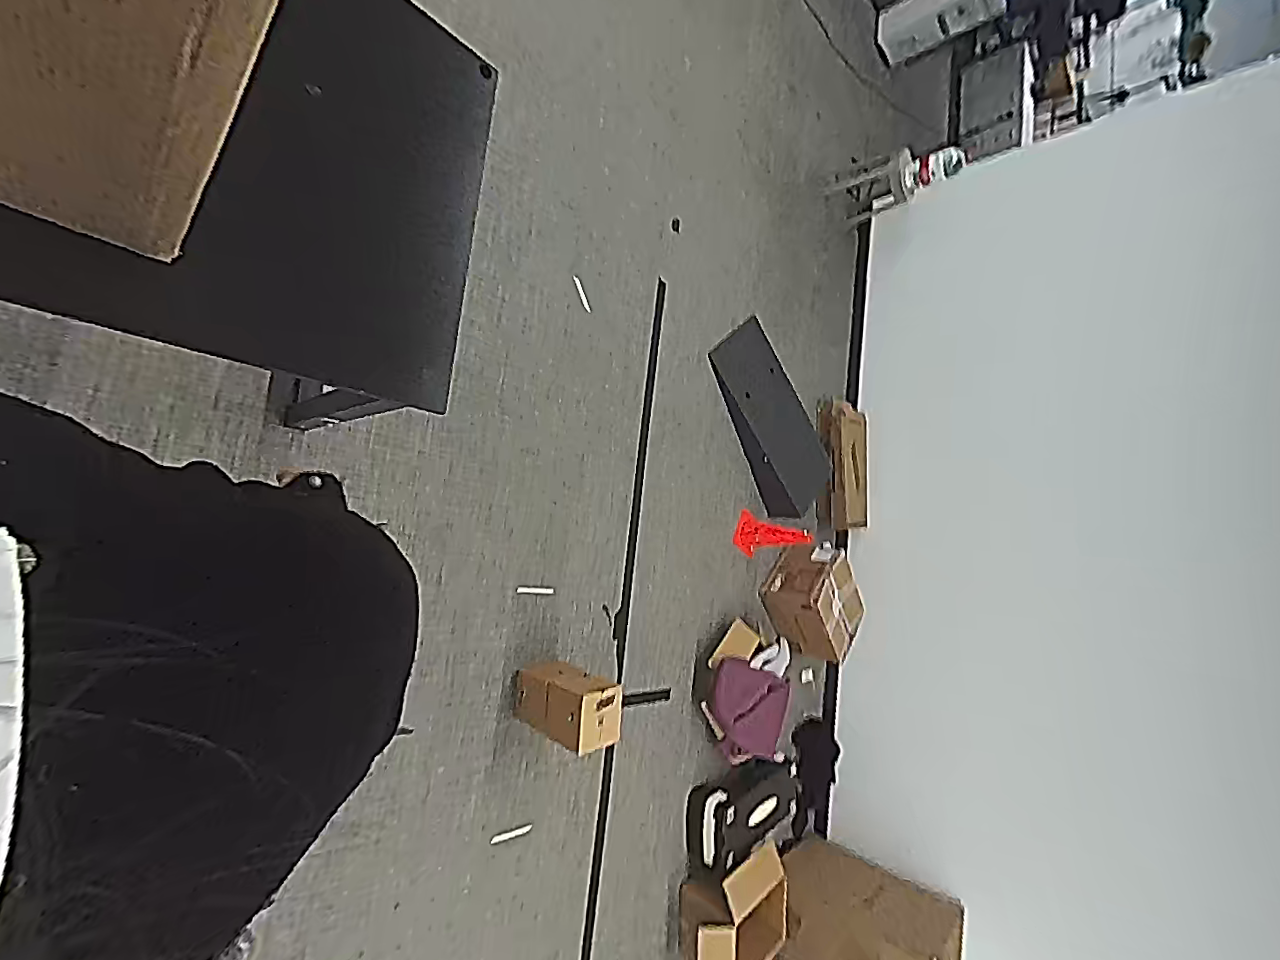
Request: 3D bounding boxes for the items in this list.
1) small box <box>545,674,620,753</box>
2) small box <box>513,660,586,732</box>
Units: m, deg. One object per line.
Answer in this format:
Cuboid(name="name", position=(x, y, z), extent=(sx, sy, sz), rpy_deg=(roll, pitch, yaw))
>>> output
Cuboid(name="small box", position=(-0.181, 0.717, 1.688), extent=(0.168, 0.176, 0.179), rpy_deg=(7, 85, -46))
Cuboid(name="small box", position=(-0.301, 0.711, 1.801), extent=(0.179, 0.176, 0.168), rpy_deg=(4, 87, -45))
